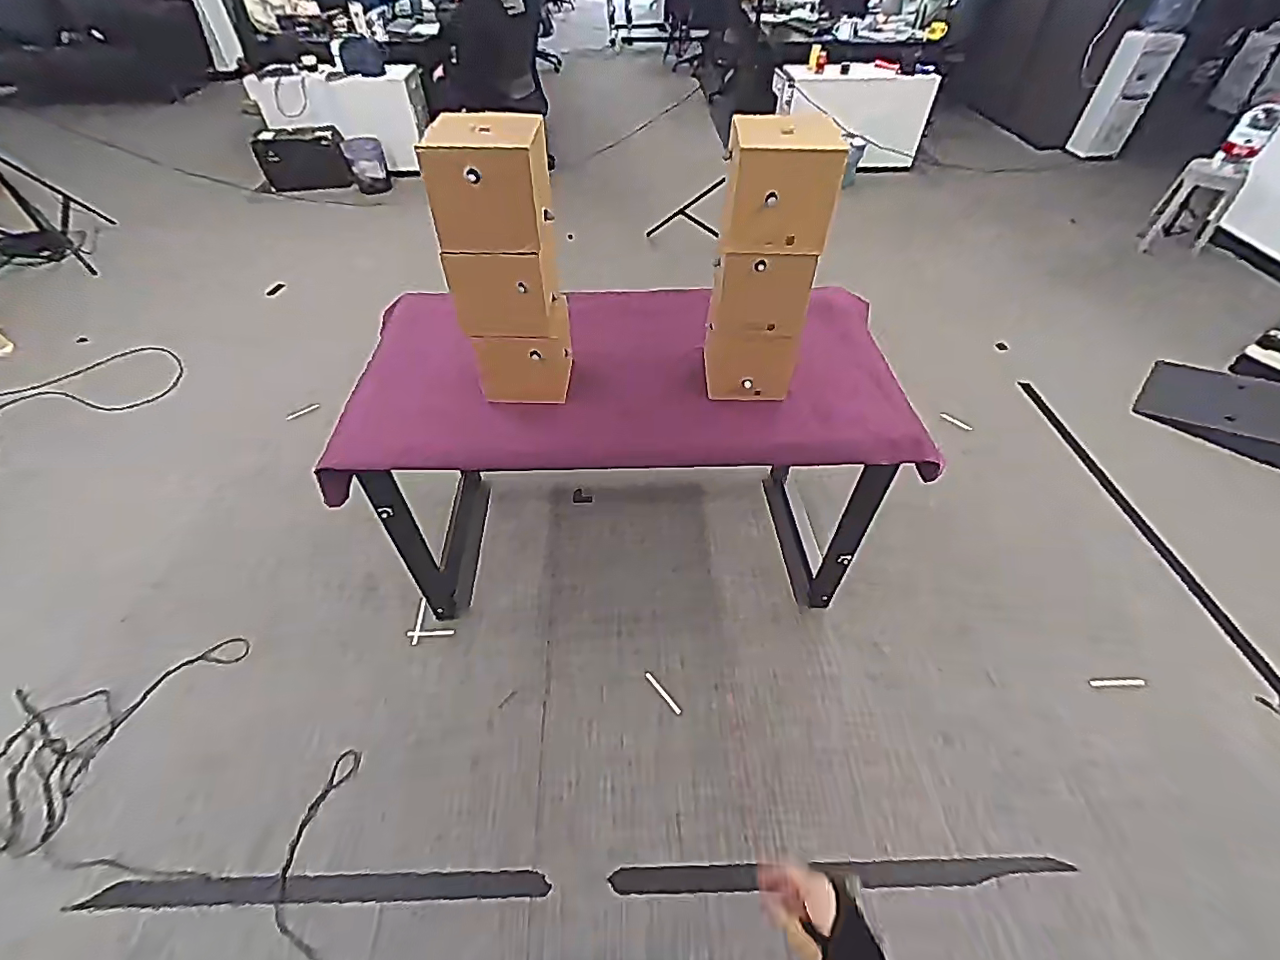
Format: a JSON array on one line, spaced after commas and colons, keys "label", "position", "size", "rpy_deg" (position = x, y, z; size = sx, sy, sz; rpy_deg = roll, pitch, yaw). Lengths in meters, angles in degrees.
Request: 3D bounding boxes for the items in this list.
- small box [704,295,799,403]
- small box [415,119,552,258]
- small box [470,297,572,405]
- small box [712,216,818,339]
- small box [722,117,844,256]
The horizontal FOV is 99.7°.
[{"label": "small box", "position": [0.233, -0.288, 1.177], "size": [0.168, 0.176, 0.179], "rpy_deg": [0, 48, 1]}, {"label": "small box", "position": [-0.253, -0.495, 0.923], "size": [0.179, 0.176, 0.168], "rpy_deg": [1, 49, -1]}, {"label": "small box", "position": [-0.244, -0.274, 1.163], "size": [0.179, 0.176, 0.168], "rpy_deg": [1, 47, 1]}, {"label": "small box", "position": [0.233, -0.395, 1.053], "size": [0.168, 0.176, 0.179], "rpy_deg": [2, 47, 2]}, {"label": "small box", "position": [0.233, -0.500, 0.927], "size": [0.168, 0.176, 0.179], "rpy_deg": [1, 47, 2]}]
